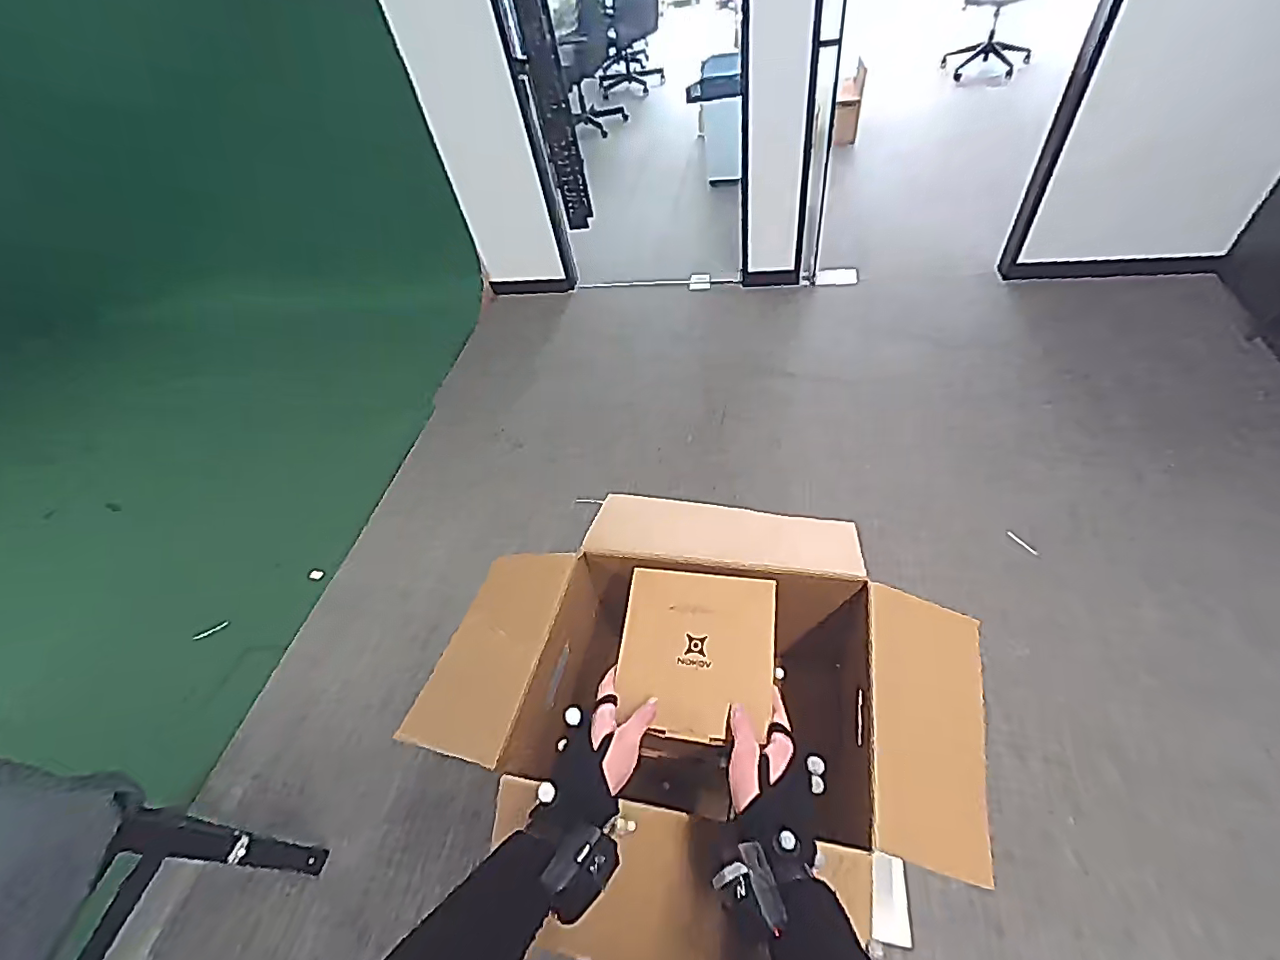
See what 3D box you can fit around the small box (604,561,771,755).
[{"bbox_3d":[0.064,0.214,0.637,0.168,0.176,0.179,3,57,10],"label":"small box"}]
